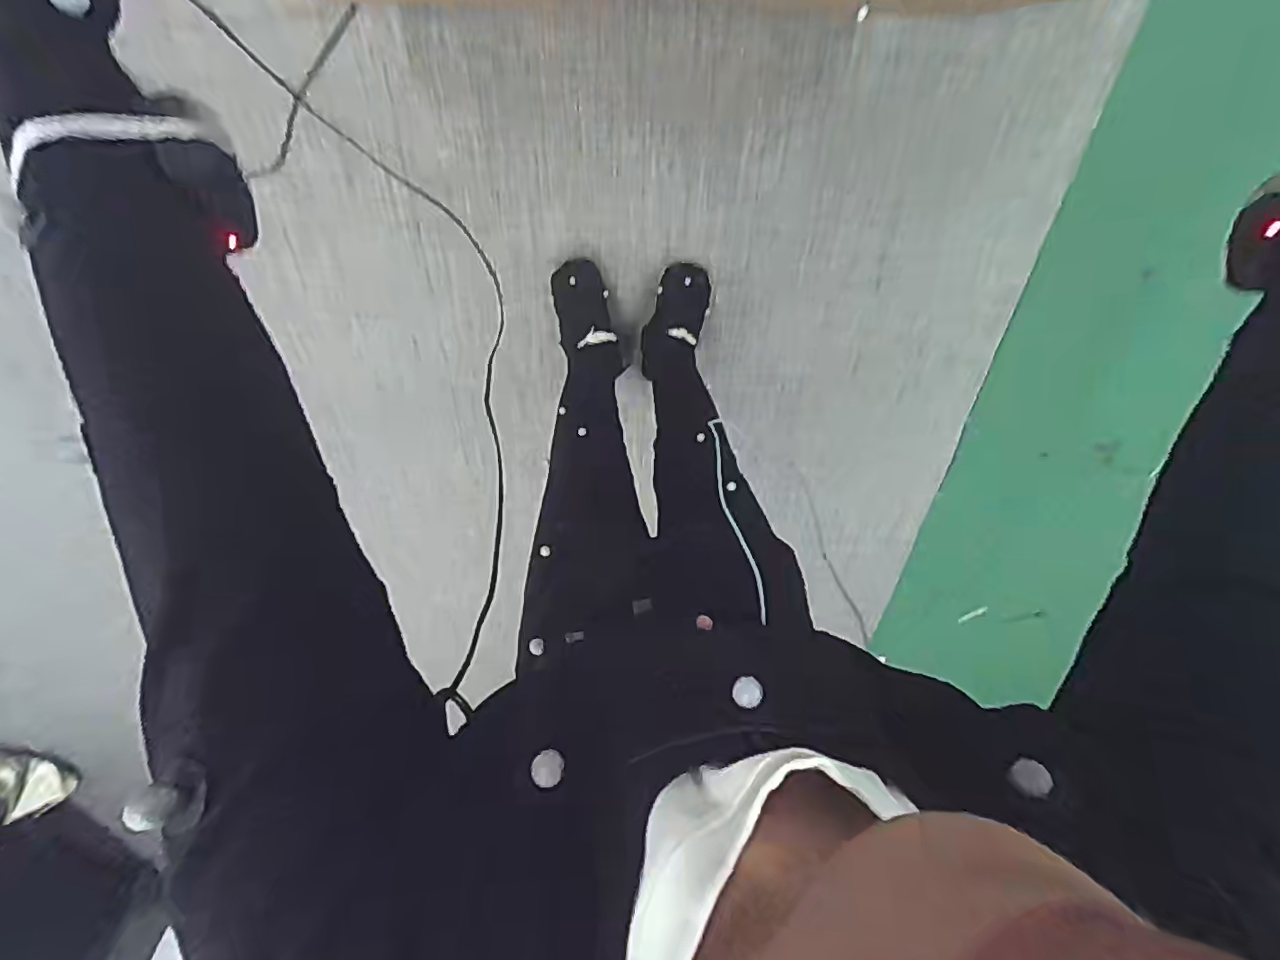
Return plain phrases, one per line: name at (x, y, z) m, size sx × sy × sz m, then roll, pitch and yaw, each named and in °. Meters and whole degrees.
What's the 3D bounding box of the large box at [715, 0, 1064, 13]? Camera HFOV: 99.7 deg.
large box at (0.301, -0.737, 0.601) m, size 0.408 × 0.320 × 0.320 m, roll 1°, pitch 126°, yaw -4°
